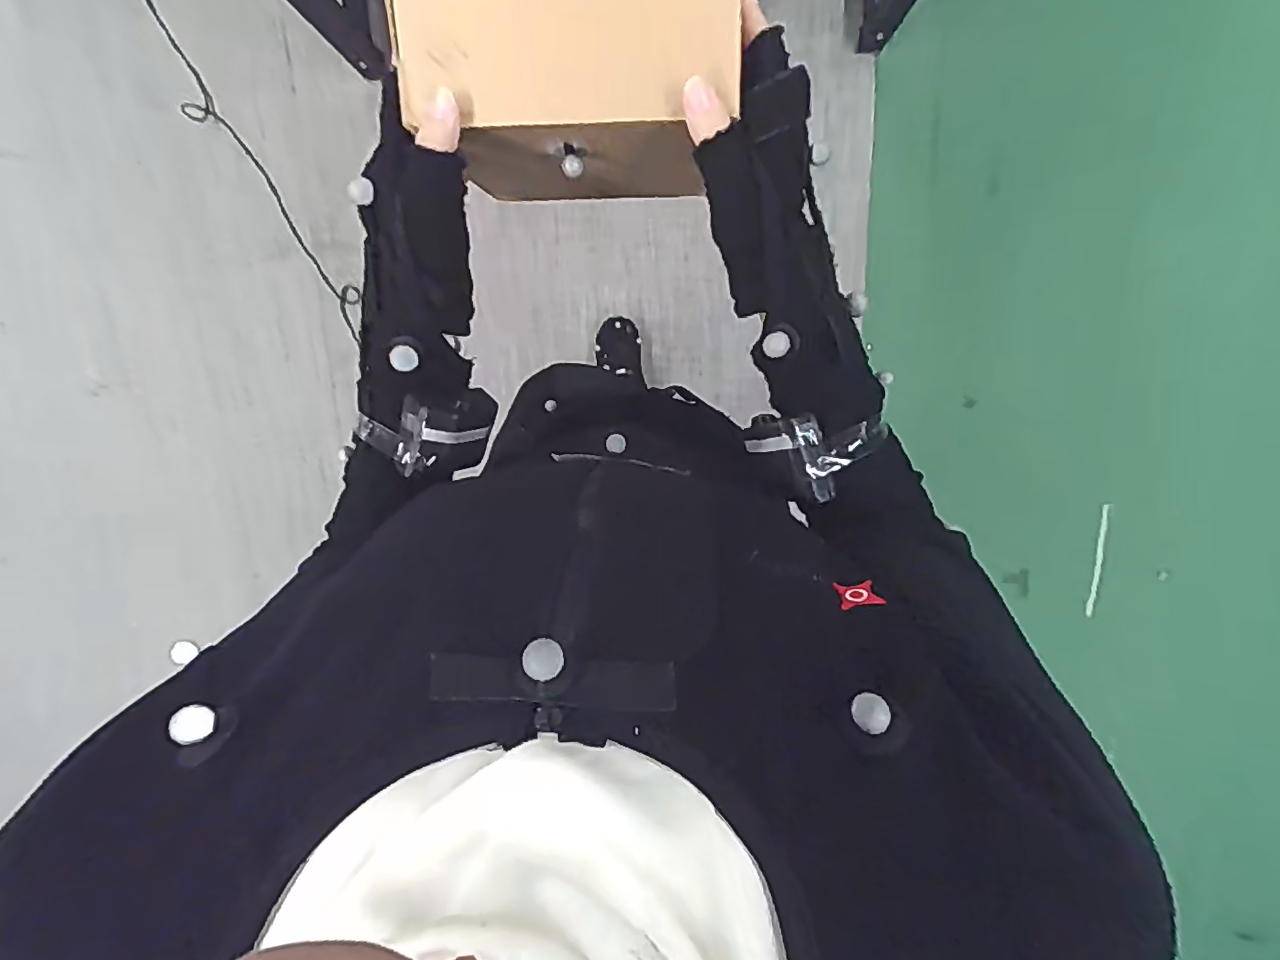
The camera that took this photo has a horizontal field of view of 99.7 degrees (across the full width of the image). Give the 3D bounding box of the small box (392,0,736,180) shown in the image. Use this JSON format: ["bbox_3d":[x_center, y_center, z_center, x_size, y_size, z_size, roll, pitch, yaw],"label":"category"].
[{"bbox_3d":[-0.036,-0.297,0.335,0.179,0.176,0.168,-1,106,2],"label":"small box"}]
